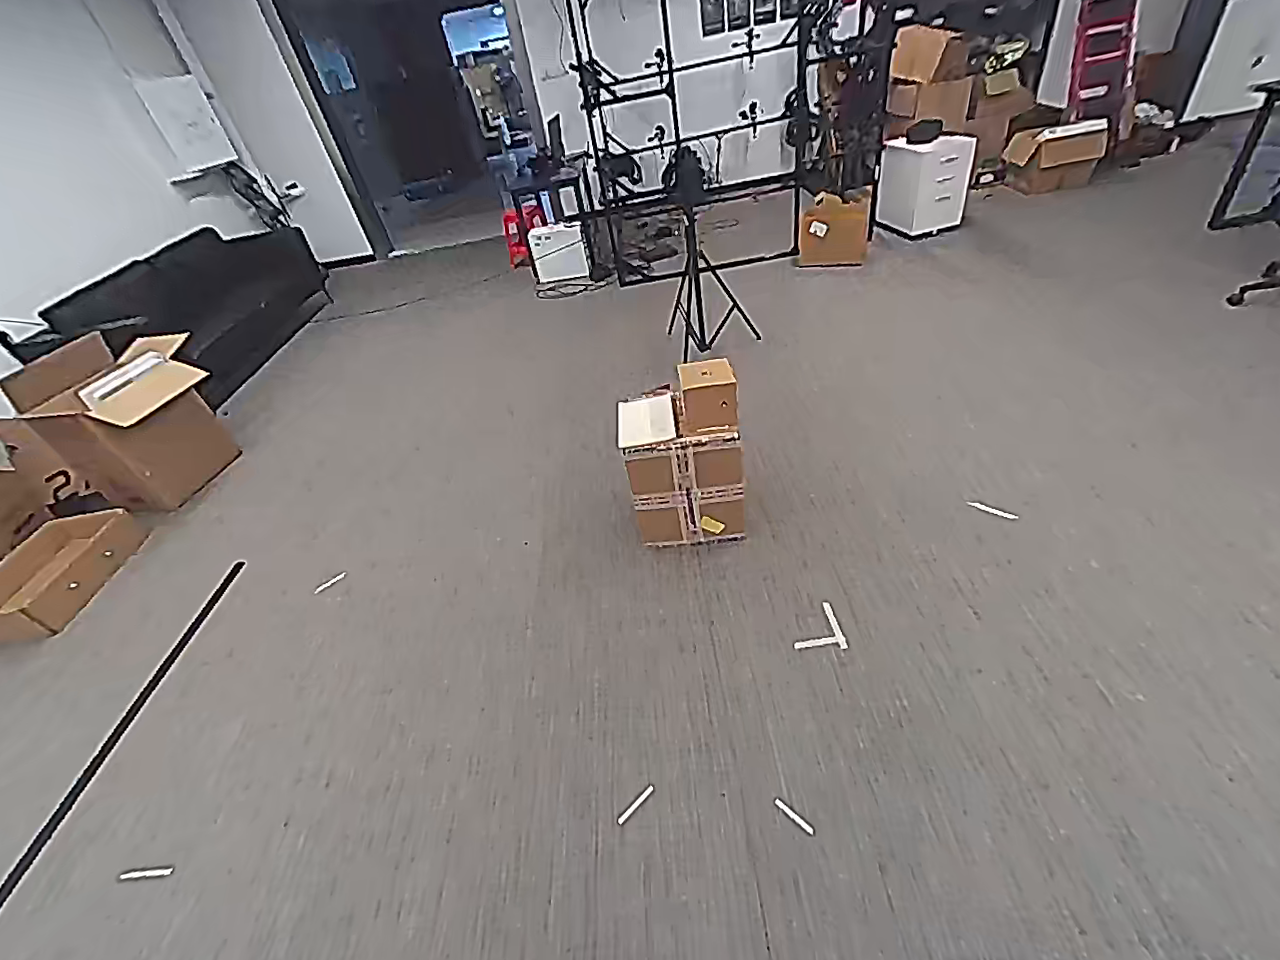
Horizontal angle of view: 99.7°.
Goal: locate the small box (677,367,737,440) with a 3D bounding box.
[{"bbox_3d":[0.224,-0.252,1.801,0.179,0.176,0.168,-9,40,2],"label":"small box"}]
